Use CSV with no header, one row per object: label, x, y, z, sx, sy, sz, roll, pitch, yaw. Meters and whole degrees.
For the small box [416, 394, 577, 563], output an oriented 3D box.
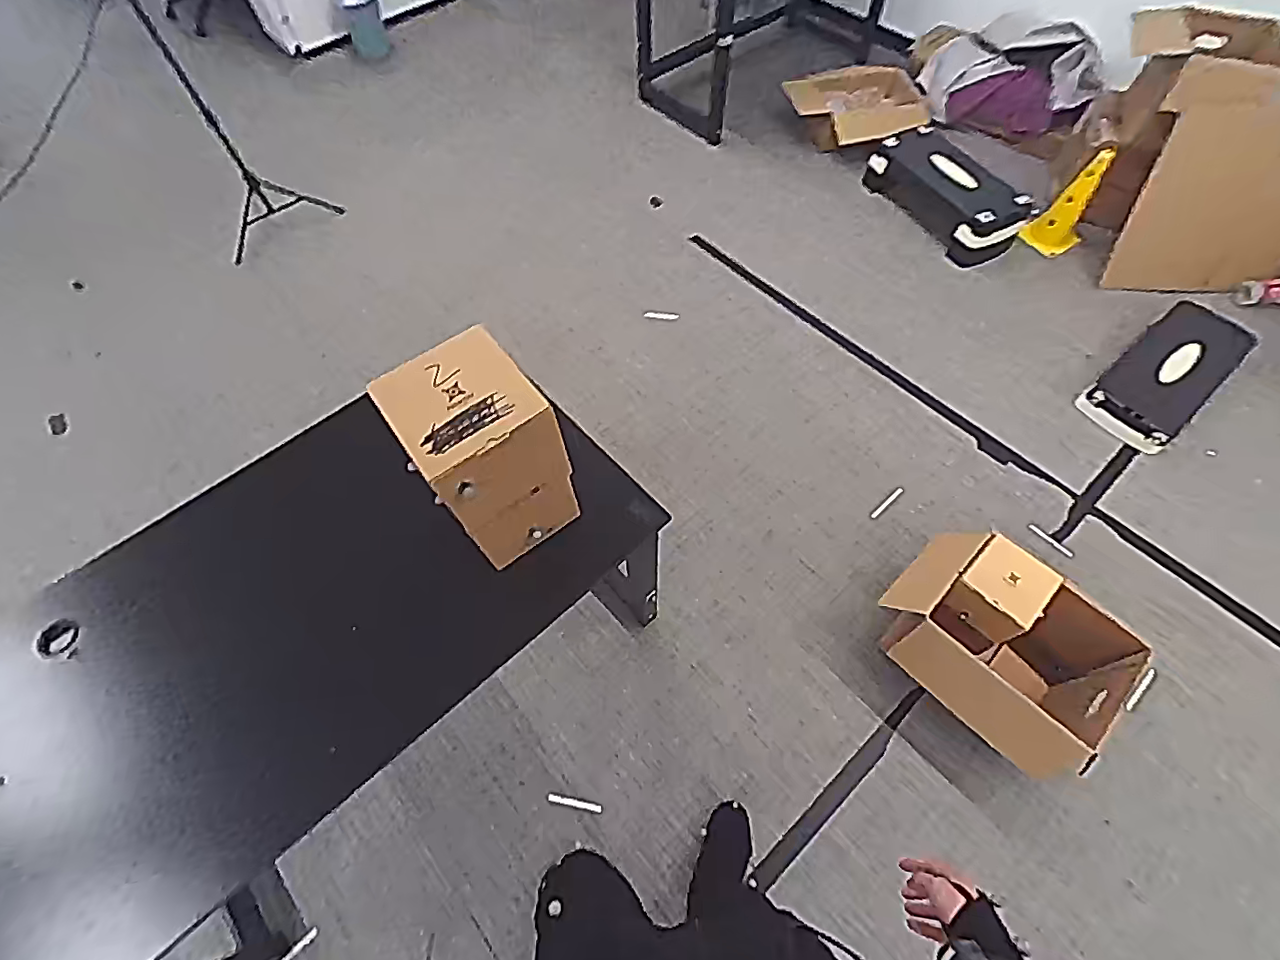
small box,-0.220,0.004,0.865,0.168,0.176,0.179,-34,66,-15
